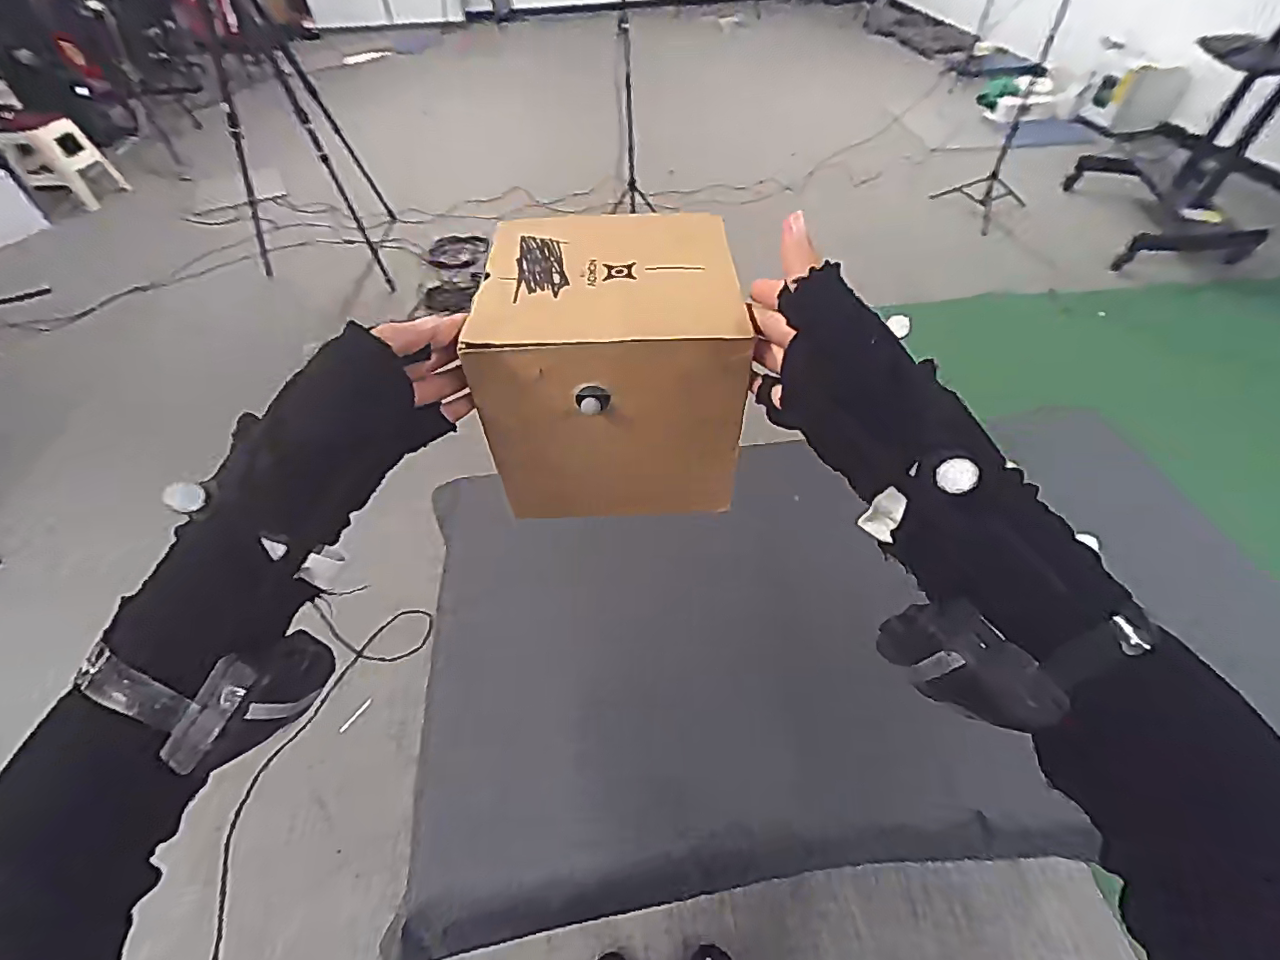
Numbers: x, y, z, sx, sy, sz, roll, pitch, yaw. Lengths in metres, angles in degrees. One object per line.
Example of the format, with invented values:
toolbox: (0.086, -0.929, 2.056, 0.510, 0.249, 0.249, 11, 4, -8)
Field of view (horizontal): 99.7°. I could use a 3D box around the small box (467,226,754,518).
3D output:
small box: (-0.017, -0.081, 0.432, 0.179, 0.176, 0.168, -1, 49, 0)
